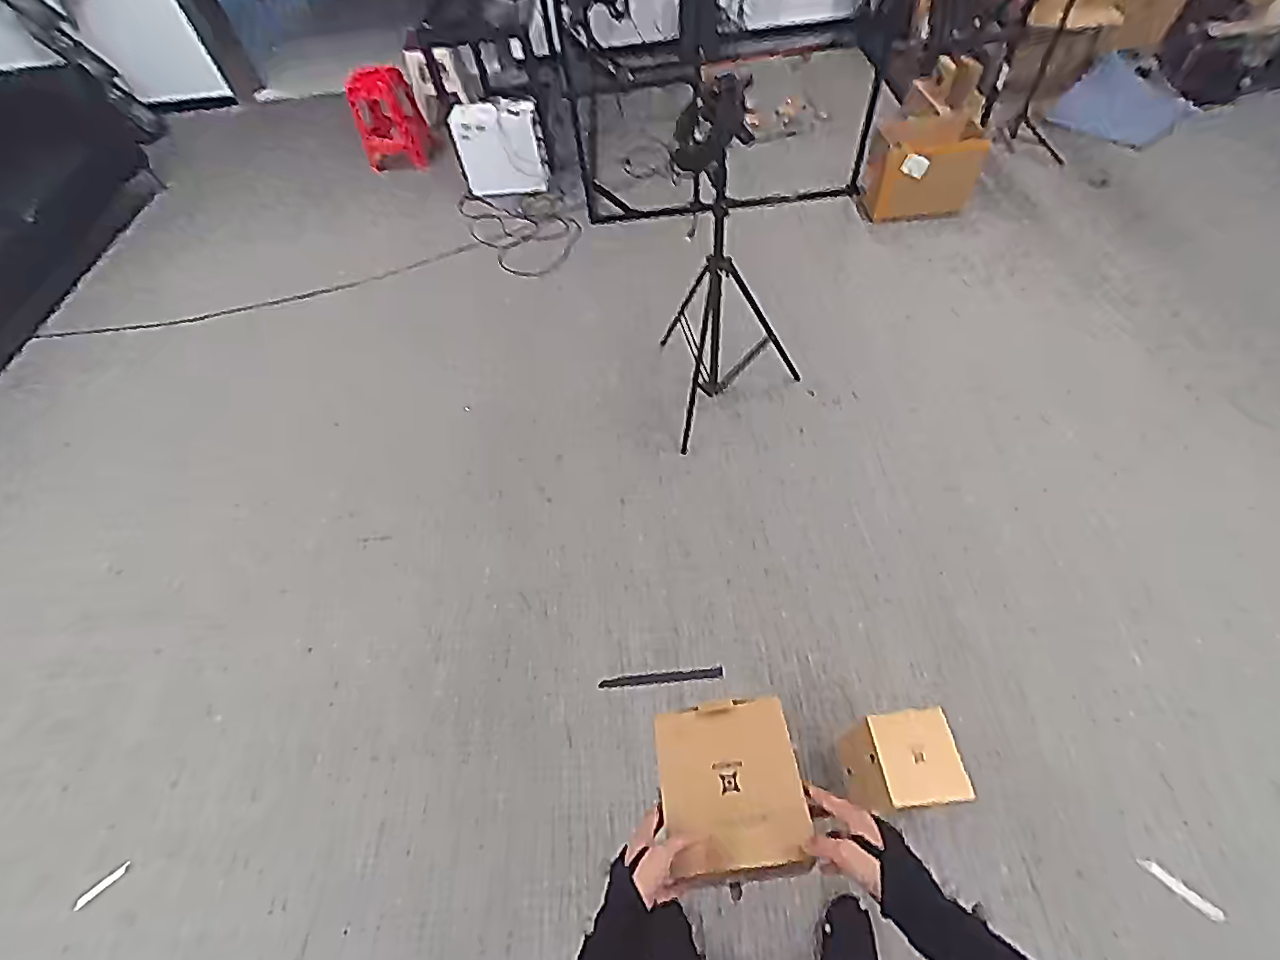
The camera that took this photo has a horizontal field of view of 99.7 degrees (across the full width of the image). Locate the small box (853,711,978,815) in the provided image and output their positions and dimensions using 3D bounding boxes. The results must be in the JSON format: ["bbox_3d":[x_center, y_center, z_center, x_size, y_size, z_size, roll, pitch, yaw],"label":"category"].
[{"bbox_3d":[0.585,0.619,1.173,0.168,0.176,0.179,-7,54,1],"label":"small box"}]

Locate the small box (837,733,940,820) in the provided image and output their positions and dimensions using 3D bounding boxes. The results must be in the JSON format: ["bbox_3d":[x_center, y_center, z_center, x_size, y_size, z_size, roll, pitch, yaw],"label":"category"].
[{"bbox_3d":[0.595,0.713,1.306,0.168,0.176,0.179,-7,54,0],"label":"small box"}]

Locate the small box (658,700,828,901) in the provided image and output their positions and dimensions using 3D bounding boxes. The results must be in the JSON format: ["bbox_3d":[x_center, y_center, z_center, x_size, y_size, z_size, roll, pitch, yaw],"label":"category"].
[{"bbox_3d":[0.121,0.404,0.679,0.168,0.176,0.179,-11,47,4],"label":"small box"}]
